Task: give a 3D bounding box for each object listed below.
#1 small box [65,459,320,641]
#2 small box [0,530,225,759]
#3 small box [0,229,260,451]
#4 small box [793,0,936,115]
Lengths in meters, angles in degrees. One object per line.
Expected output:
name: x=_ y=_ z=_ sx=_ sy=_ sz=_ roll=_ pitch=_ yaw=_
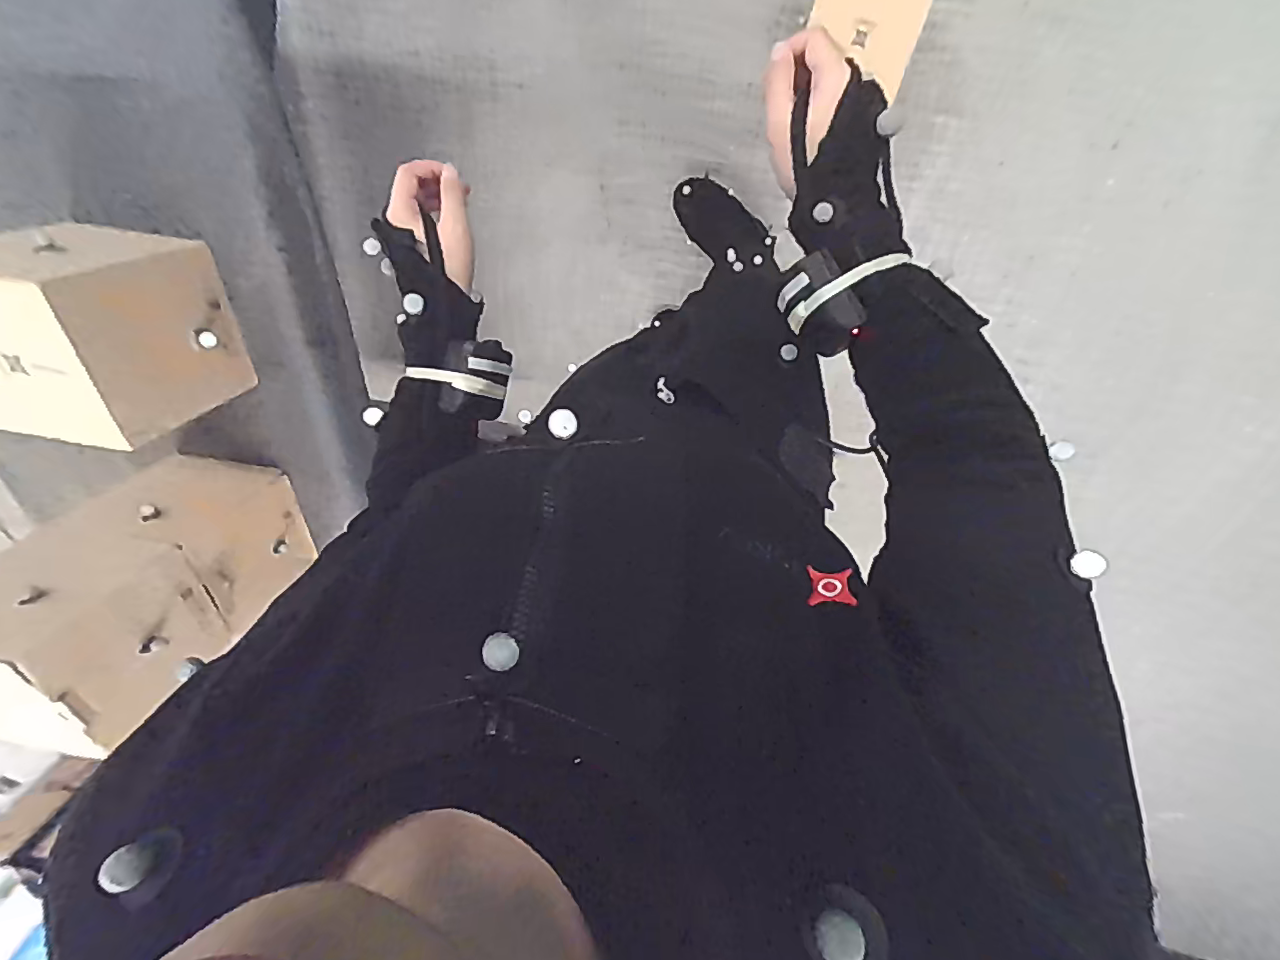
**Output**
small box: x=-0.585 y=0.087 z=0.736 sx=0.179 sy=0.176 sz=0.168 roll=8 pitch=124 yaw=7
small box: x=-0.613 y=0.173 z=0.599 sx=0.179 sy=0.176 sz=0.168 roll=6 pitch=124 yaw=7
small box: x=-0.553 y=-0.154 z=0.561 sx=0.179 sy=0.176 sz=0.168 roll=10 pitch=126 yaw=7
small box: x=0.352 y=-0.712 z=0.873 sx=0.168 sy=0.176 sz=0.179 roll=15 pitch=127 yaw=4
